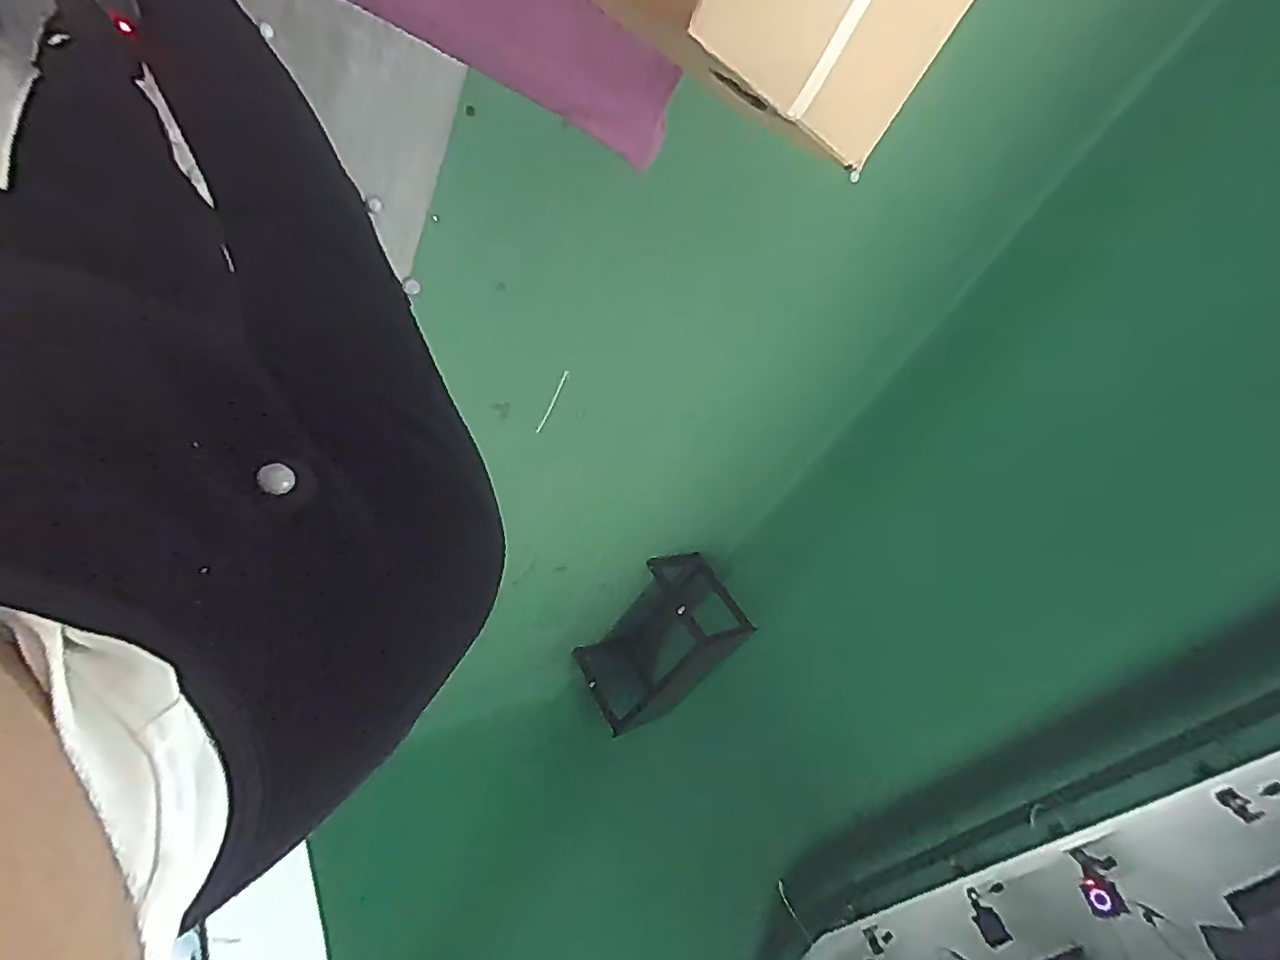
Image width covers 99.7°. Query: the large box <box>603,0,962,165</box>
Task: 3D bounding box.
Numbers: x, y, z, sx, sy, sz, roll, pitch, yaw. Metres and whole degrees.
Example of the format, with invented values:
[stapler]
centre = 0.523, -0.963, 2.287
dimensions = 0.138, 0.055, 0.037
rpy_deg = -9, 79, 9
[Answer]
[large box]
centre = 0.166, -0.623, 0.524
dimensions = 0.320, 0.320, 0.408
rpy_deg = -1, 136, -43
